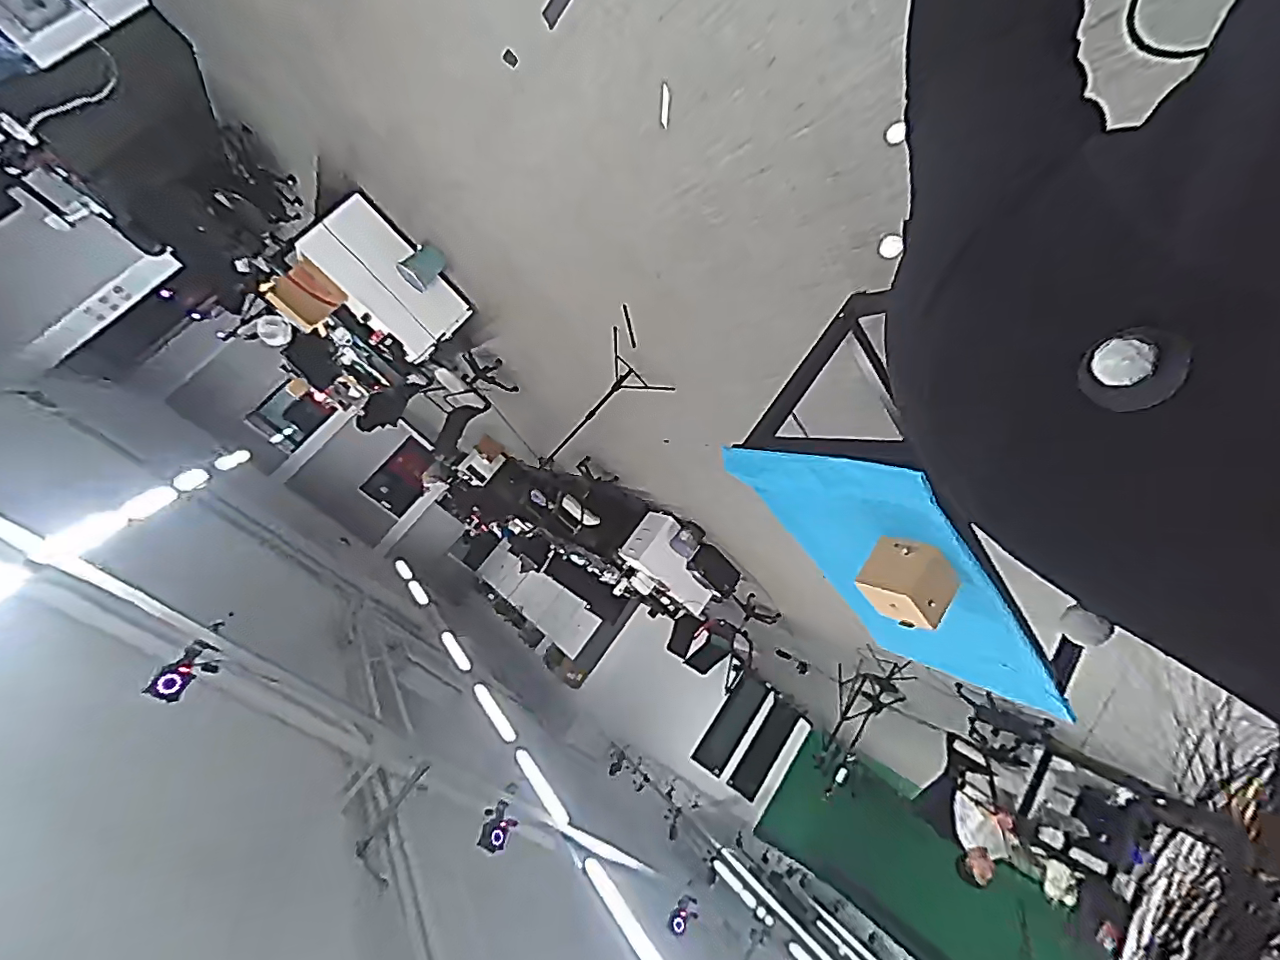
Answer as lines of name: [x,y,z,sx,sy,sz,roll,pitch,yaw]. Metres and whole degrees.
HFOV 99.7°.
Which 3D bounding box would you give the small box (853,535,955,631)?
small box: [0.731,0.278,1.491,0.179,0.176,0.168,46,162,-26]
